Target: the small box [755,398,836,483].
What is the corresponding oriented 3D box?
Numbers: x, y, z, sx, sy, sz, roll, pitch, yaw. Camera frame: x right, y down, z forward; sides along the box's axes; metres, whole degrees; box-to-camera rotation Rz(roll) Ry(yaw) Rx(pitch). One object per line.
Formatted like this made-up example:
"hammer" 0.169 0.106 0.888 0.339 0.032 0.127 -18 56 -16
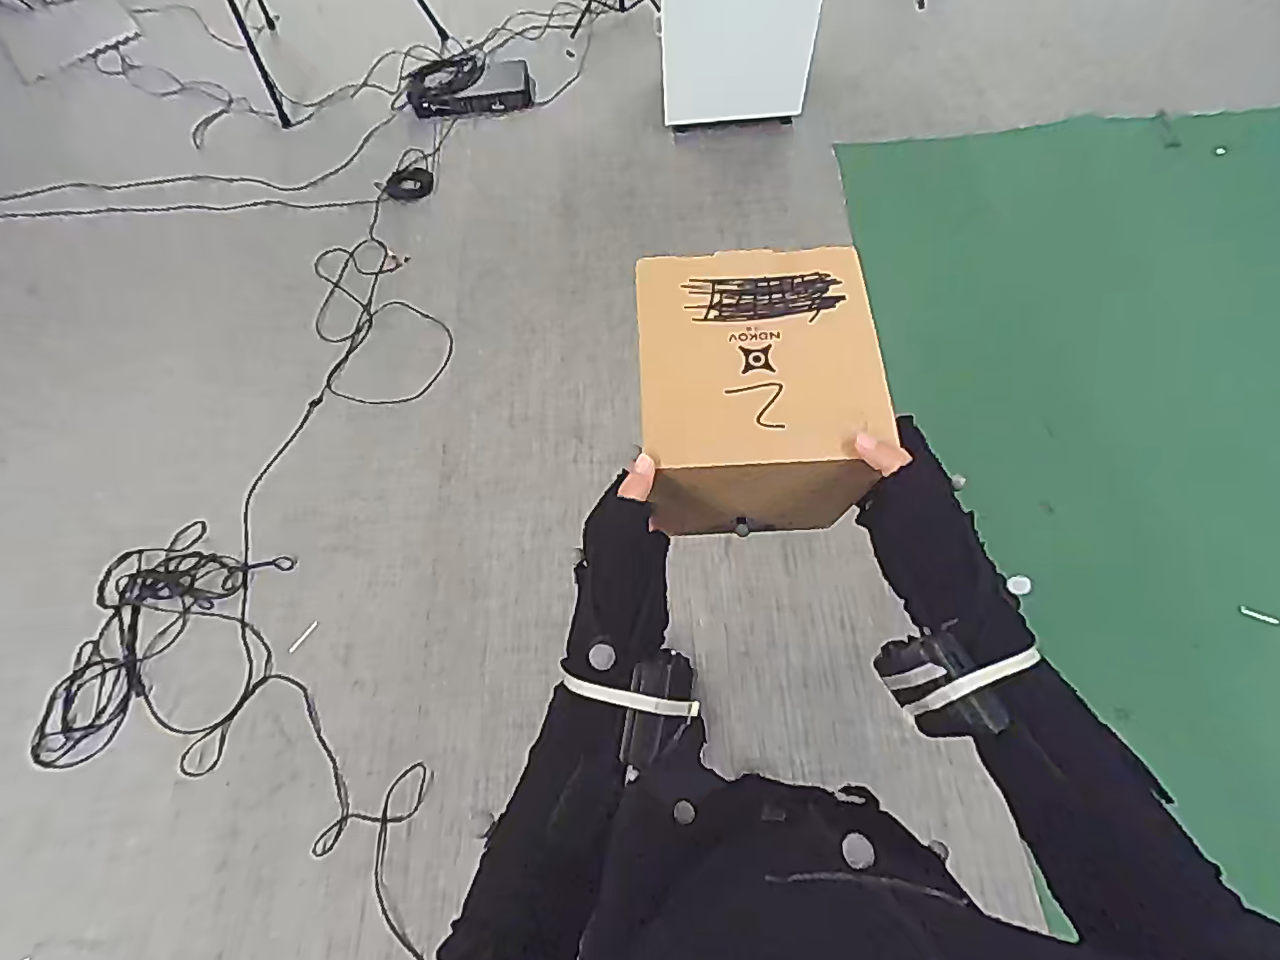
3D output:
"small box" 0.408 -0.097 1.445 0.168 0.176 0.179 -4 67 2
